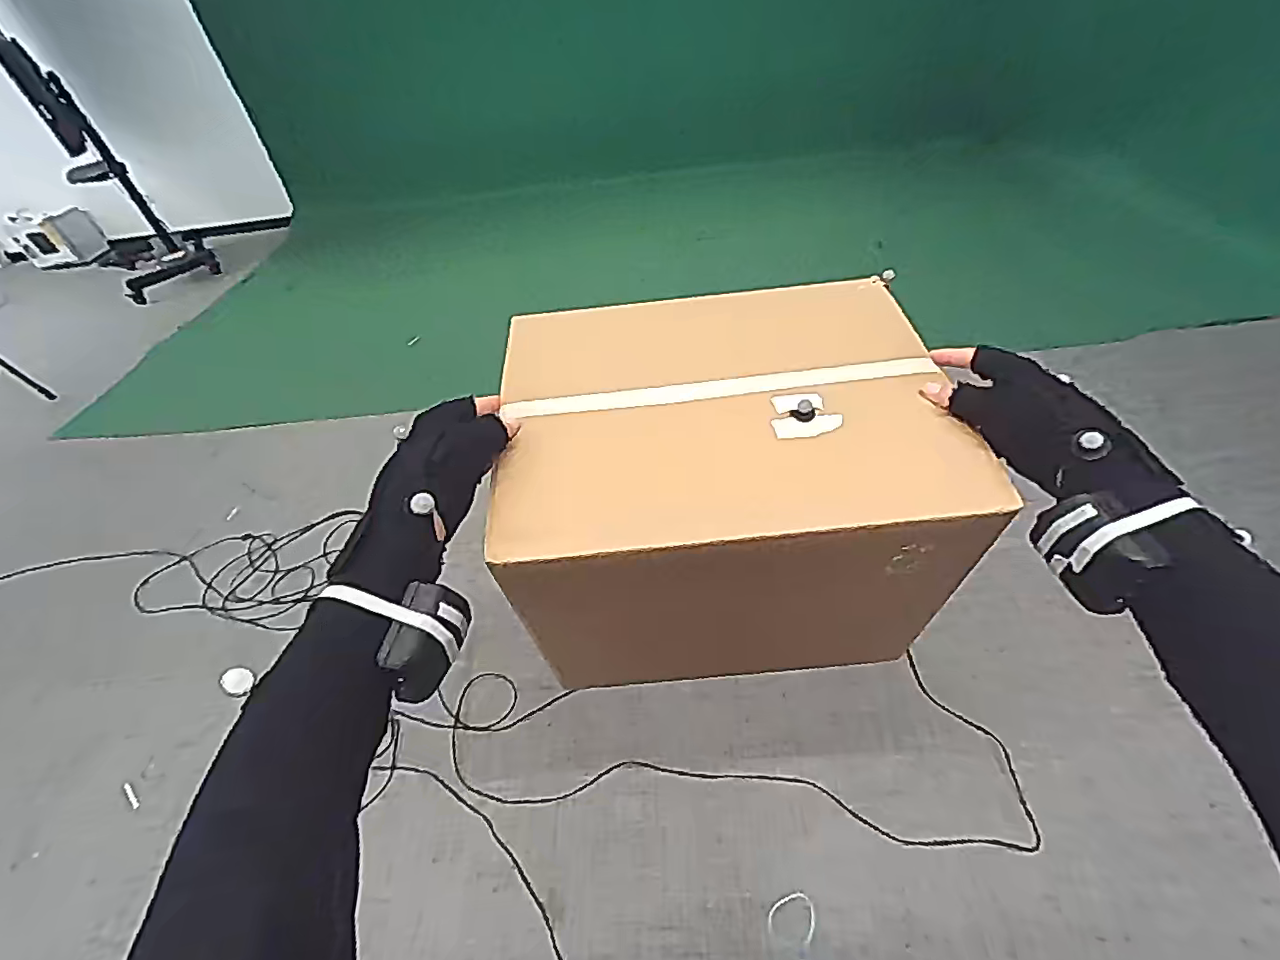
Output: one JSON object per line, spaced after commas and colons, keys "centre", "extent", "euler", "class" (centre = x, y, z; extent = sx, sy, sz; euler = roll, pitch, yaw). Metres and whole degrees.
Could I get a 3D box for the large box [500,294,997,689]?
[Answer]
{"centre": [0.082, 0.021, 0.630], "extent": [0.408, 0.320, 0.320], "euler": [-6, 51, 0], "class": "large box"}
